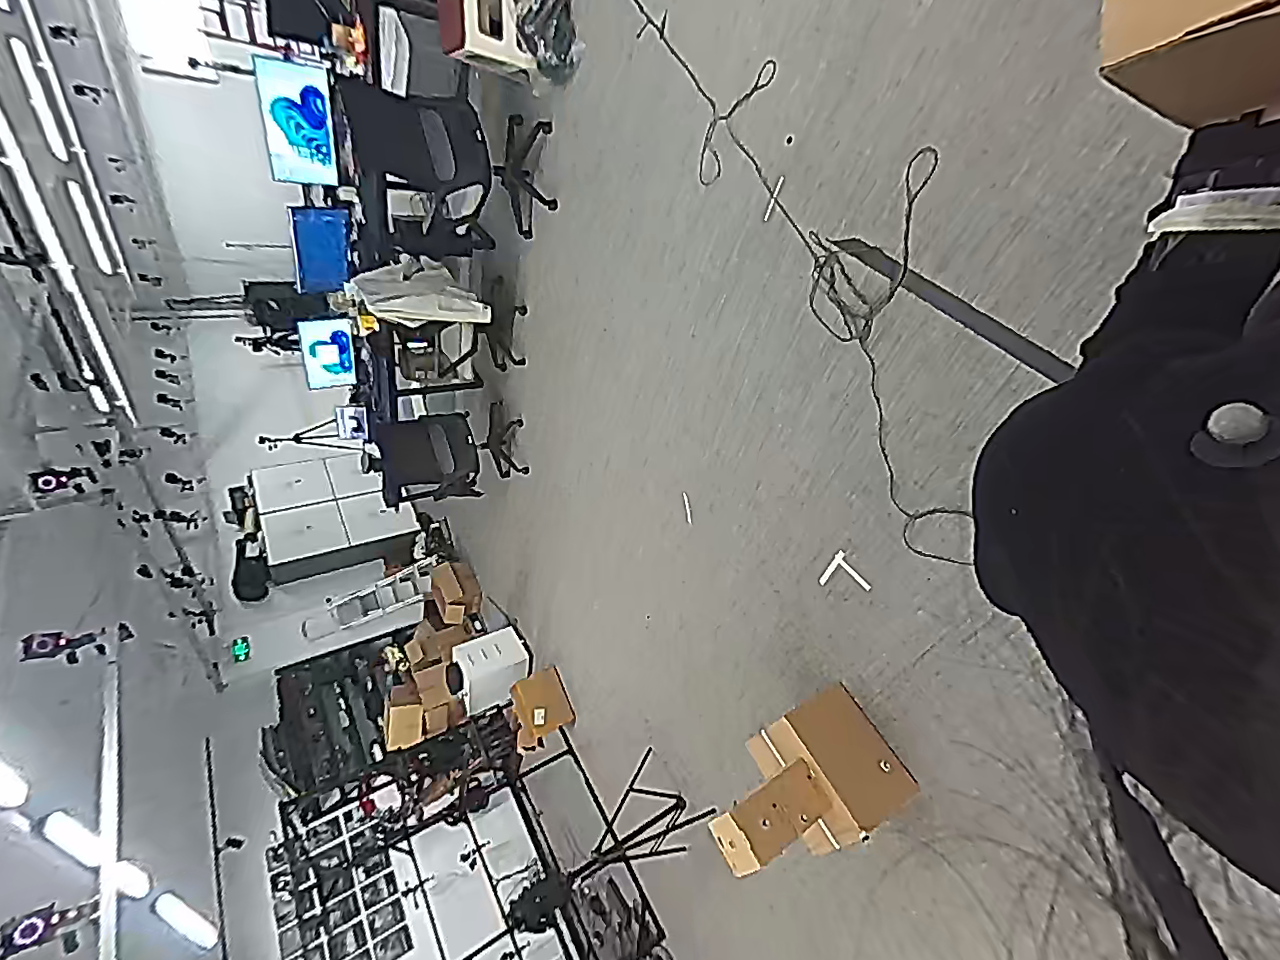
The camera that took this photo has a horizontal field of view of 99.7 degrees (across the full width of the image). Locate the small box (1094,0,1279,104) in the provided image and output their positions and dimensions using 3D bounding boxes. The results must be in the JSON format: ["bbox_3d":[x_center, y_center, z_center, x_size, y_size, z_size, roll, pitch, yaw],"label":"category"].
[{"bbox_3d":[0.324,-0.290,0.225,0.168,0.176,0.179,9,108,54],"label":"small box"}]

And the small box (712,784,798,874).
[{"bbox_3d":[0.363,1.084,1.686,0.168,0.176,0.179,56,141,28],"label":"small box"}]
